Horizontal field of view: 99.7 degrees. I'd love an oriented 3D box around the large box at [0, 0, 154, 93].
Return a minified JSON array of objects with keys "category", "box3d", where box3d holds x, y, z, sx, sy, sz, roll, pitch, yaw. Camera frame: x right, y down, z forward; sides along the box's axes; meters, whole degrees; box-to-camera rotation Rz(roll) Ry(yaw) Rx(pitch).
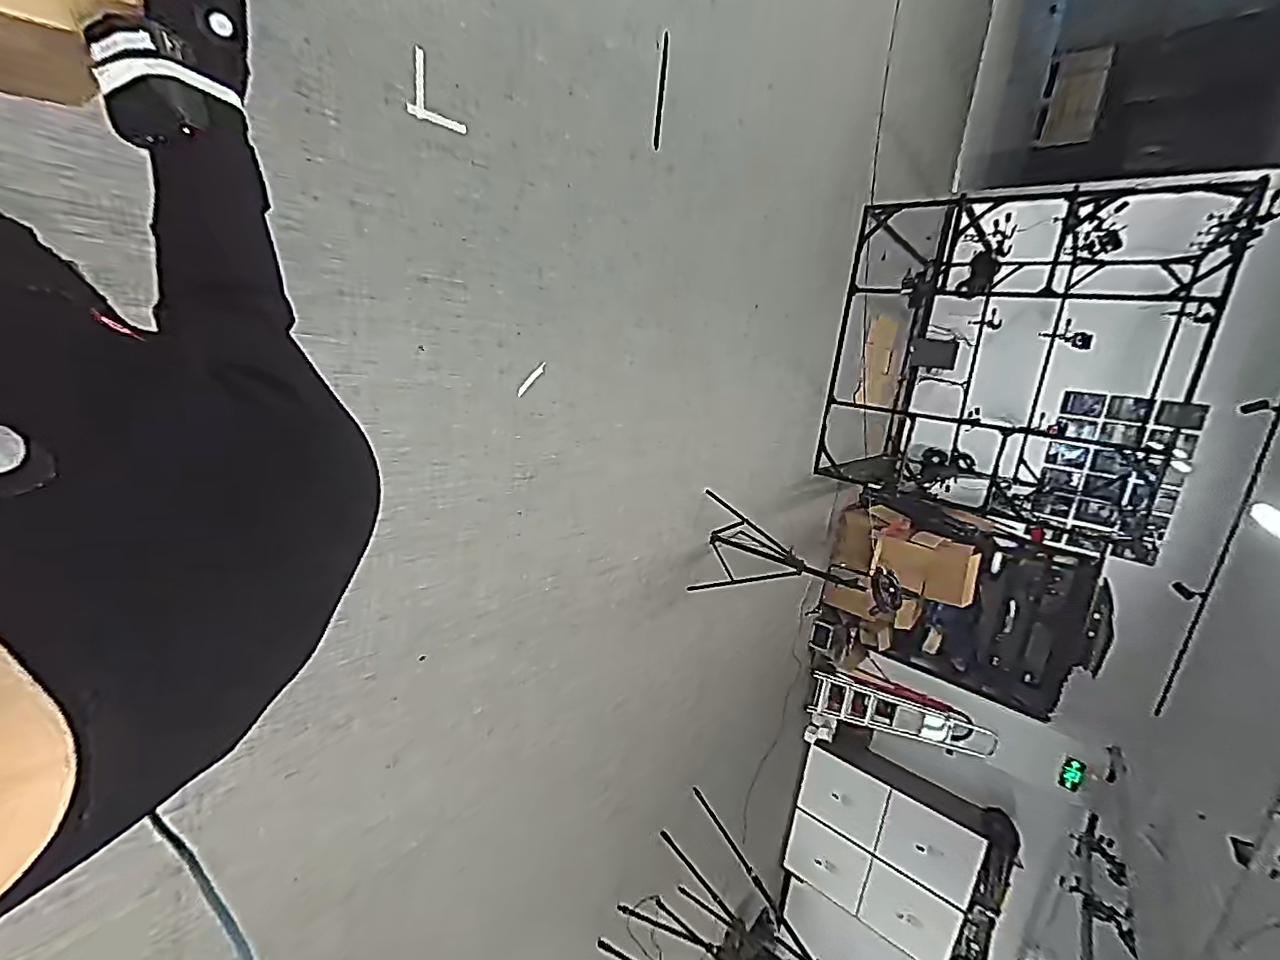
[{"category":"large box","box3d":[-0.583,-0.450,0.277,0.408,0.320,0.320,-21,123,-48]}]
